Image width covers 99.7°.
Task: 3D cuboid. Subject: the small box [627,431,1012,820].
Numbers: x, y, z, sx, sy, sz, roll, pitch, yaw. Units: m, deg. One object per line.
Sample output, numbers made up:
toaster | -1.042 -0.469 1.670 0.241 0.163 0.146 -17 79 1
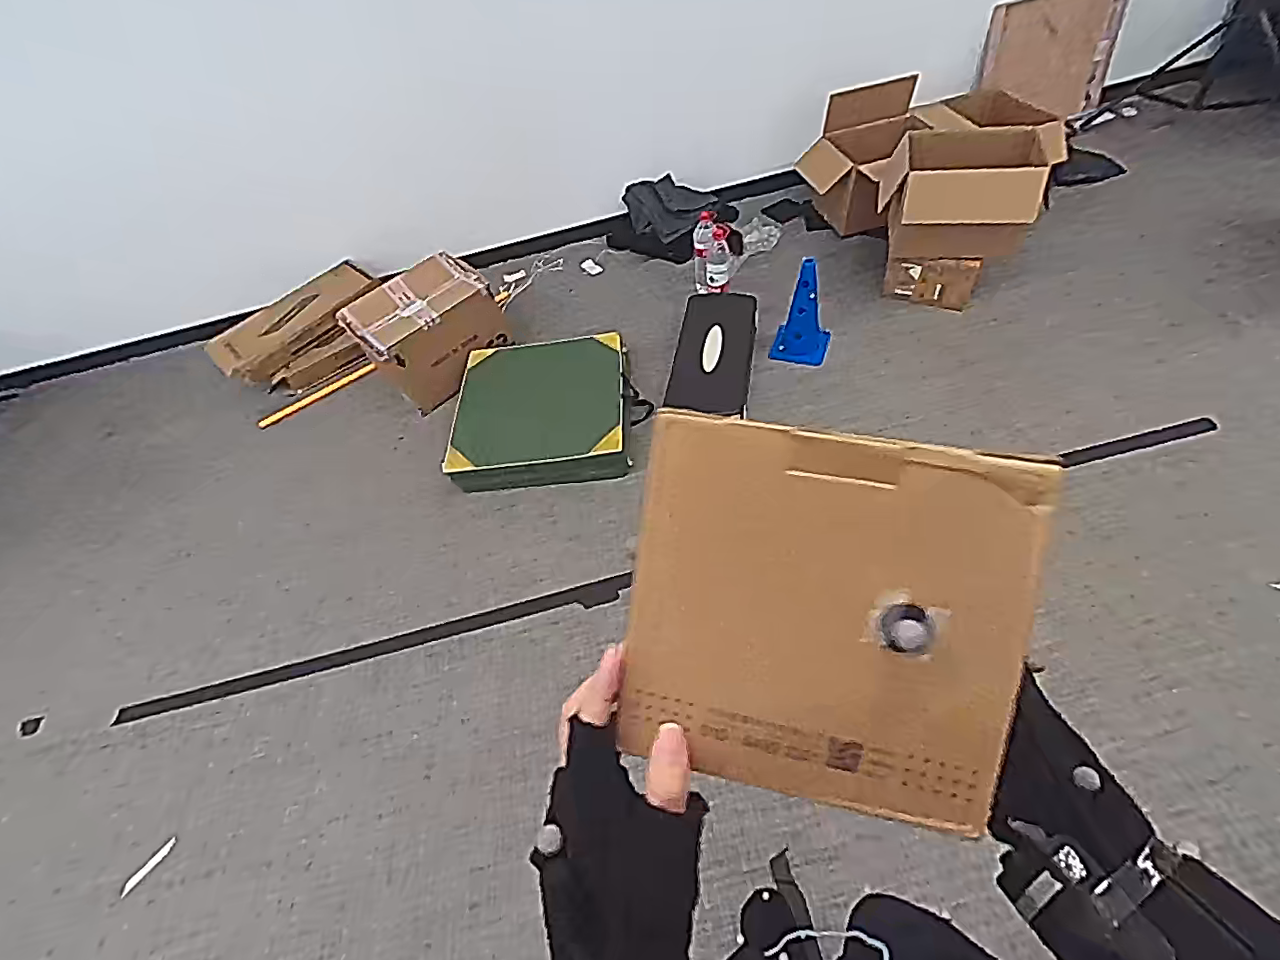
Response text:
small box | 0.094 0.063 0.334 0.168 0.179 0.176 8 97 15
